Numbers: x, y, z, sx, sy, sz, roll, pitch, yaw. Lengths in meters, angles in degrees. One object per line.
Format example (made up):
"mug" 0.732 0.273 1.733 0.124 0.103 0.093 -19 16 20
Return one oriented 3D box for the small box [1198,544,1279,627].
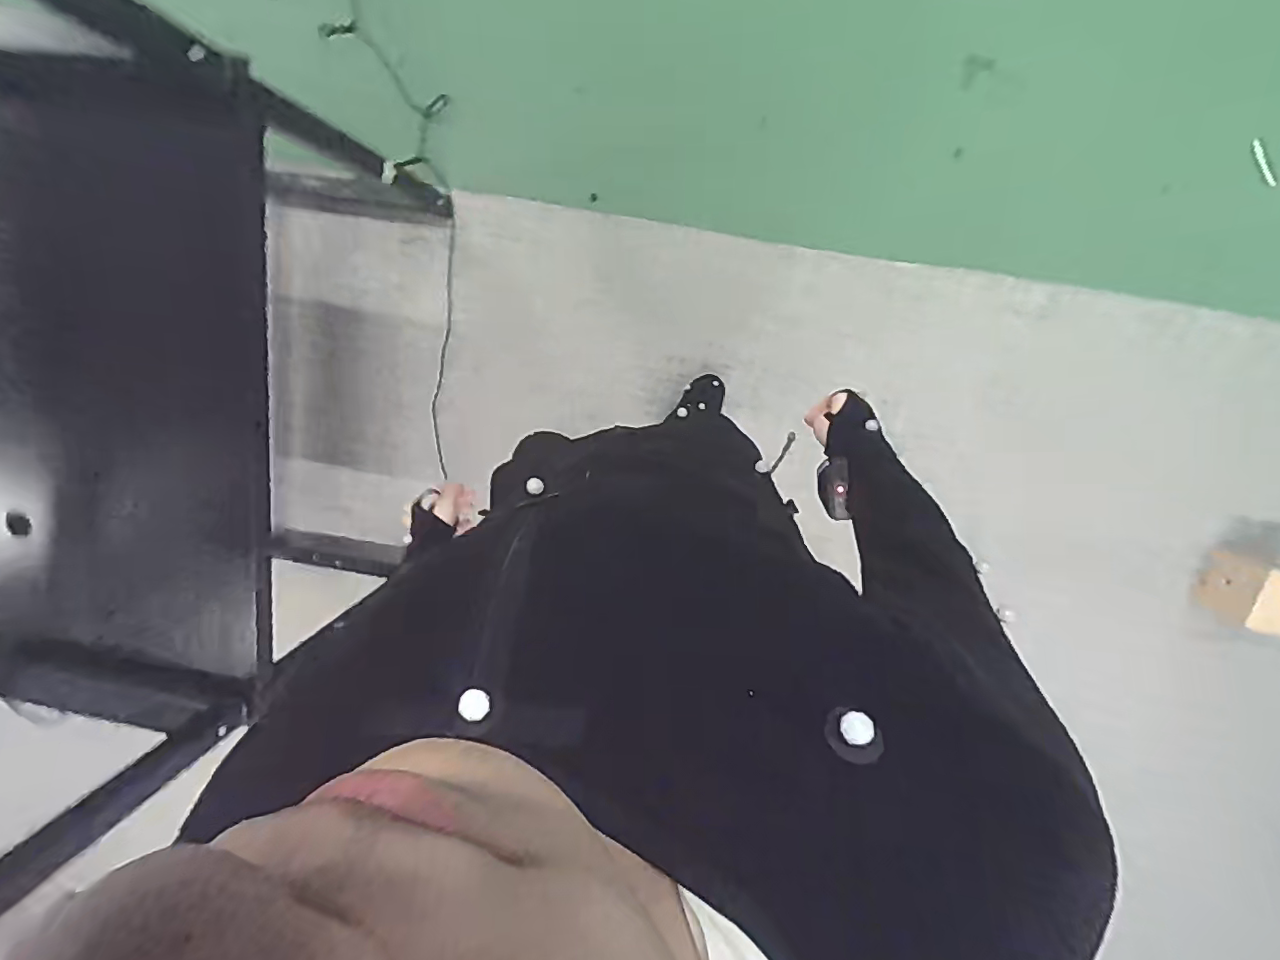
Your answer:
"small box" 1.656 0.280 1.425 0.179 0.176 0.168 12 105 4
